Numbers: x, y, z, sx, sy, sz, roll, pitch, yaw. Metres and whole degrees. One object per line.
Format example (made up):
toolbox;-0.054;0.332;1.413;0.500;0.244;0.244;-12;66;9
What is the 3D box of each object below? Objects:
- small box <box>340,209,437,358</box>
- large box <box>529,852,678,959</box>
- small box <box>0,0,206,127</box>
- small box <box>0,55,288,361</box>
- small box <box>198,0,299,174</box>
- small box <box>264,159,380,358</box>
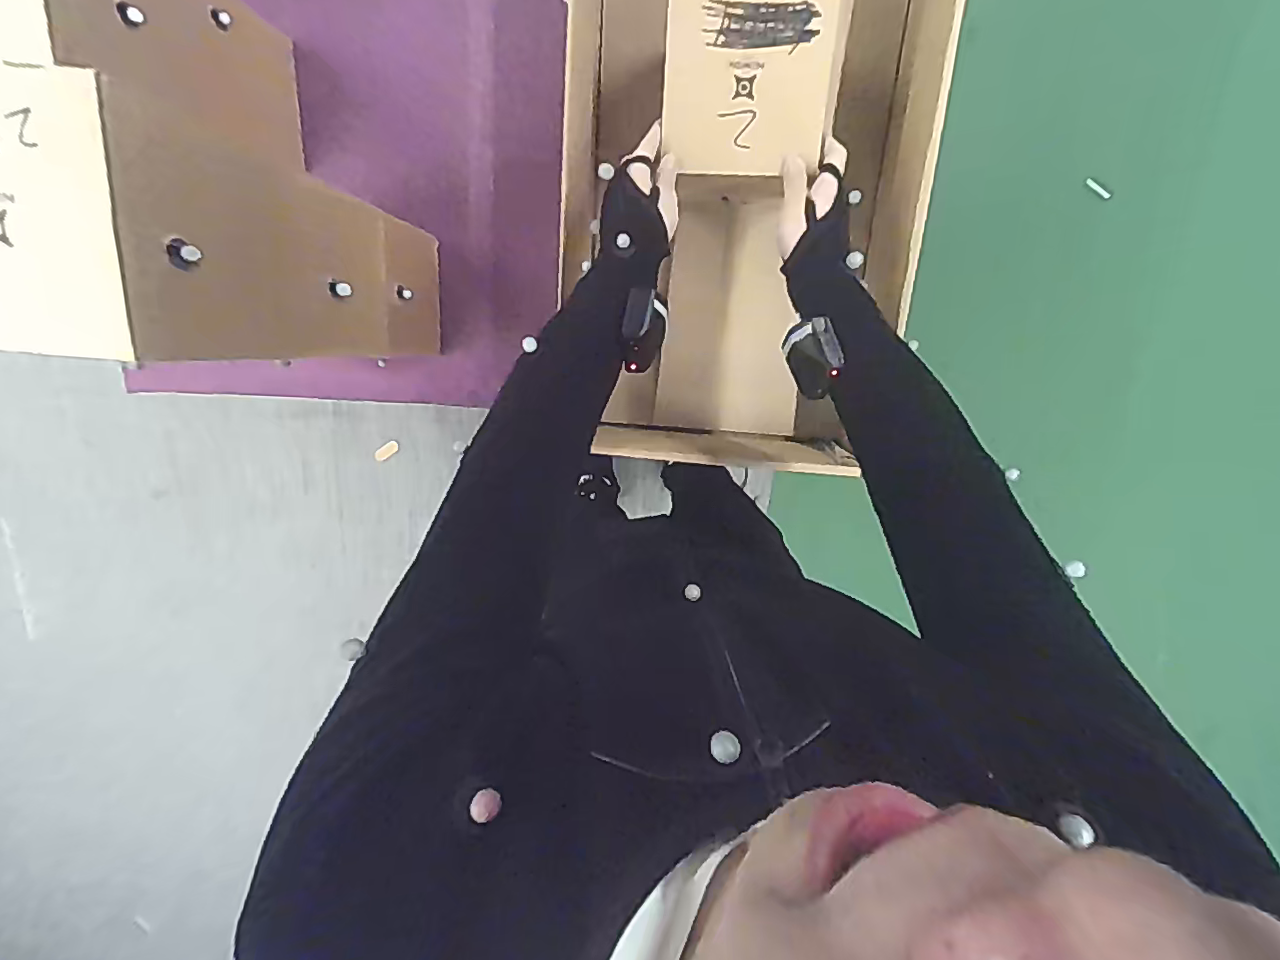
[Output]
small box;-0.391;-0.262;0.741;0.168;0.176;0.179;5;102;2
large box;-0.114;1.583;1.851;0.408;0.320;0.320;-27;101;9
small box;-0.577;-0.473;0.534;0.168;0.176;0.179;8;105;3
small box;-0.407;-0.190;0.420;0.168;0.176;0.179;6;103;1
small box;-0.573;-0.510;0.695;0.168;0.176;0.179;3;103;3
small box;-0.400;-0.228;0.581;0.168;0.176;0.179;5;104;2
